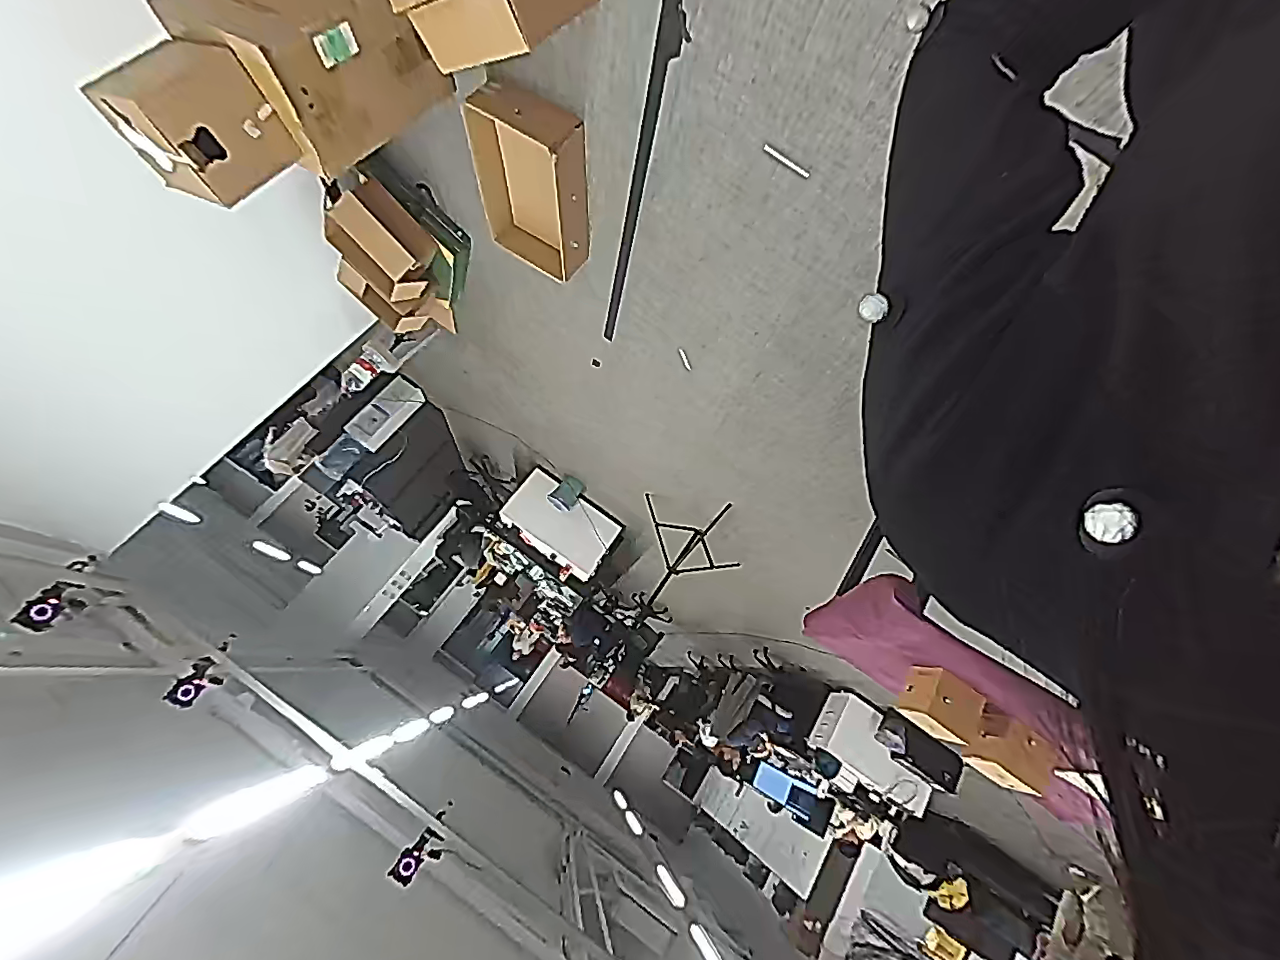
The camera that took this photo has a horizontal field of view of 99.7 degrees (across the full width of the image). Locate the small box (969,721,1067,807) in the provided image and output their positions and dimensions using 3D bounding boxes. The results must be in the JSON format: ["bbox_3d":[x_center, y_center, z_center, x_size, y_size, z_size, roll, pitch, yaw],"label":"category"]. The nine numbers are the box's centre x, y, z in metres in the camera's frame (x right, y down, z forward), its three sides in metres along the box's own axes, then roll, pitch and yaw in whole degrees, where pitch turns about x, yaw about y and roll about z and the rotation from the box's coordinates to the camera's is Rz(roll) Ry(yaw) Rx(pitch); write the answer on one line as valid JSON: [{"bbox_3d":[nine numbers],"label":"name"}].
[{"bbox_3d":[1.221,0.907,1.748,0.179,0.176,0.168,36,159,4],"label":"small box"}]

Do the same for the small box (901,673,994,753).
[{"bbox_3d":[1.005,0.753,1.767,0.179,0.176,0.168,35,161,1],"label":"small box"}]
